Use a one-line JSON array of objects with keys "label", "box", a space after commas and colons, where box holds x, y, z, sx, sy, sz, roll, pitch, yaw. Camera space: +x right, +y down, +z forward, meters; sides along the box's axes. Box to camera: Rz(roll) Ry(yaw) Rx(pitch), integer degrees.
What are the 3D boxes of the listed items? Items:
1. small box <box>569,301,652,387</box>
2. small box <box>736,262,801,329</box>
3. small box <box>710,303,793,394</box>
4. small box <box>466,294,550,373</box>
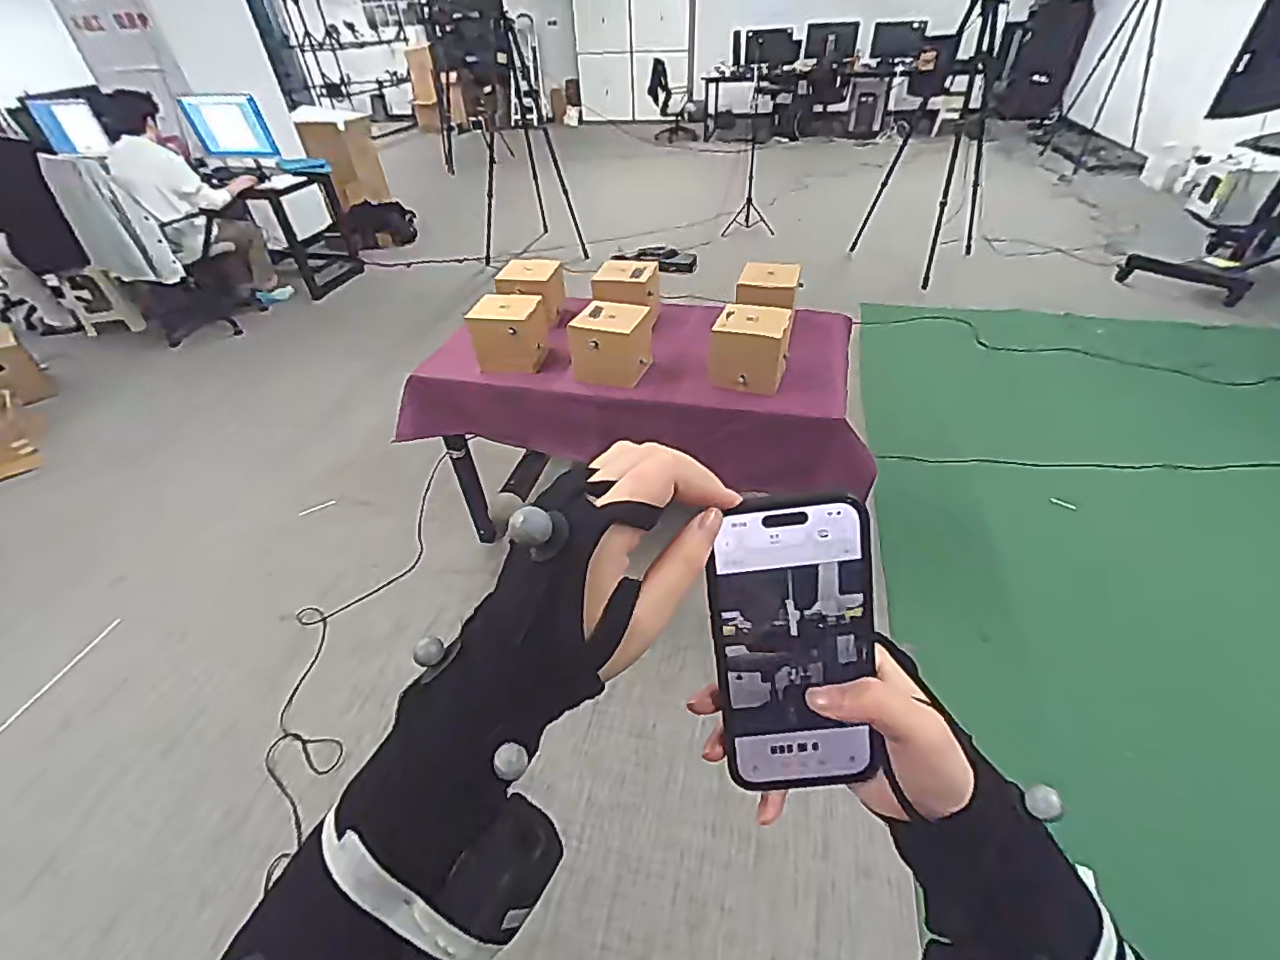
[{"label": "small box", "box": [-0.074, -0.372, 1.483, 0.179, 0.176, 0.168, 13, 44, 17]}, {"label": "small box", "box": [0.386, -0.546, 1.648, 0.168, 0.176, 0.179, 10, 44, 16]}, {"label": "small box", "box": [0.291, -0.345, 1.426, 0.179, 0.176, 0.168, 13, 43, 18]}, {"label": "small box", "box": [-0.373, -0.423, 1.563, 0.179, 0.176, 0.168, 5, 41, 7]}]
